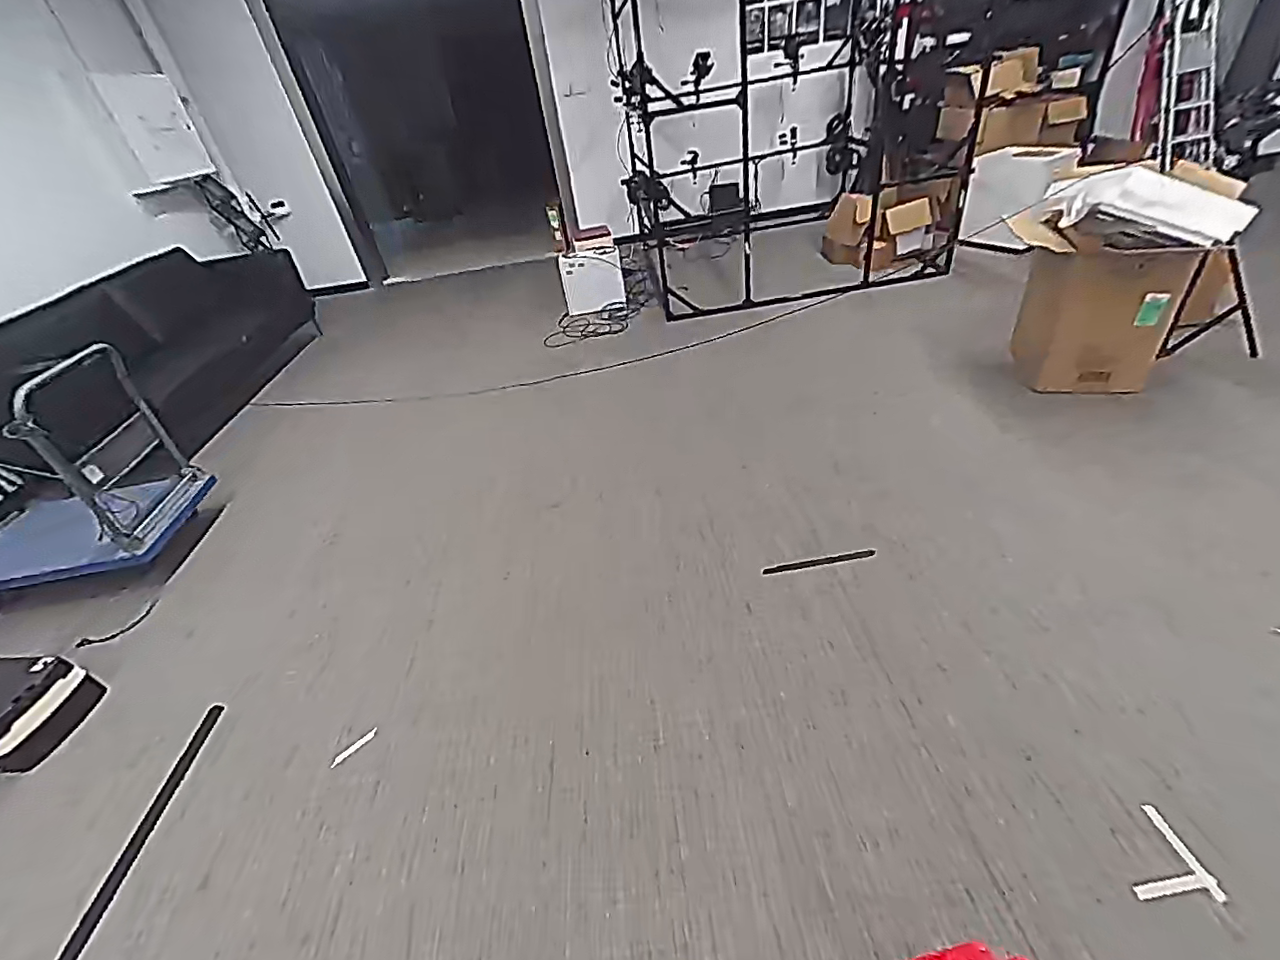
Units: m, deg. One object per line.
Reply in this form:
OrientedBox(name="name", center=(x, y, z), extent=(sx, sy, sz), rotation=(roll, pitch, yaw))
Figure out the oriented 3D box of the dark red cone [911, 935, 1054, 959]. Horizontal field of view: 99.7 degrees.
OrientedBox(name="dark red cone", center=(0.555, 0.795, 0.823), extent=(0.202, 0.394, 0.201), rotation=(-14, 37, -5))
